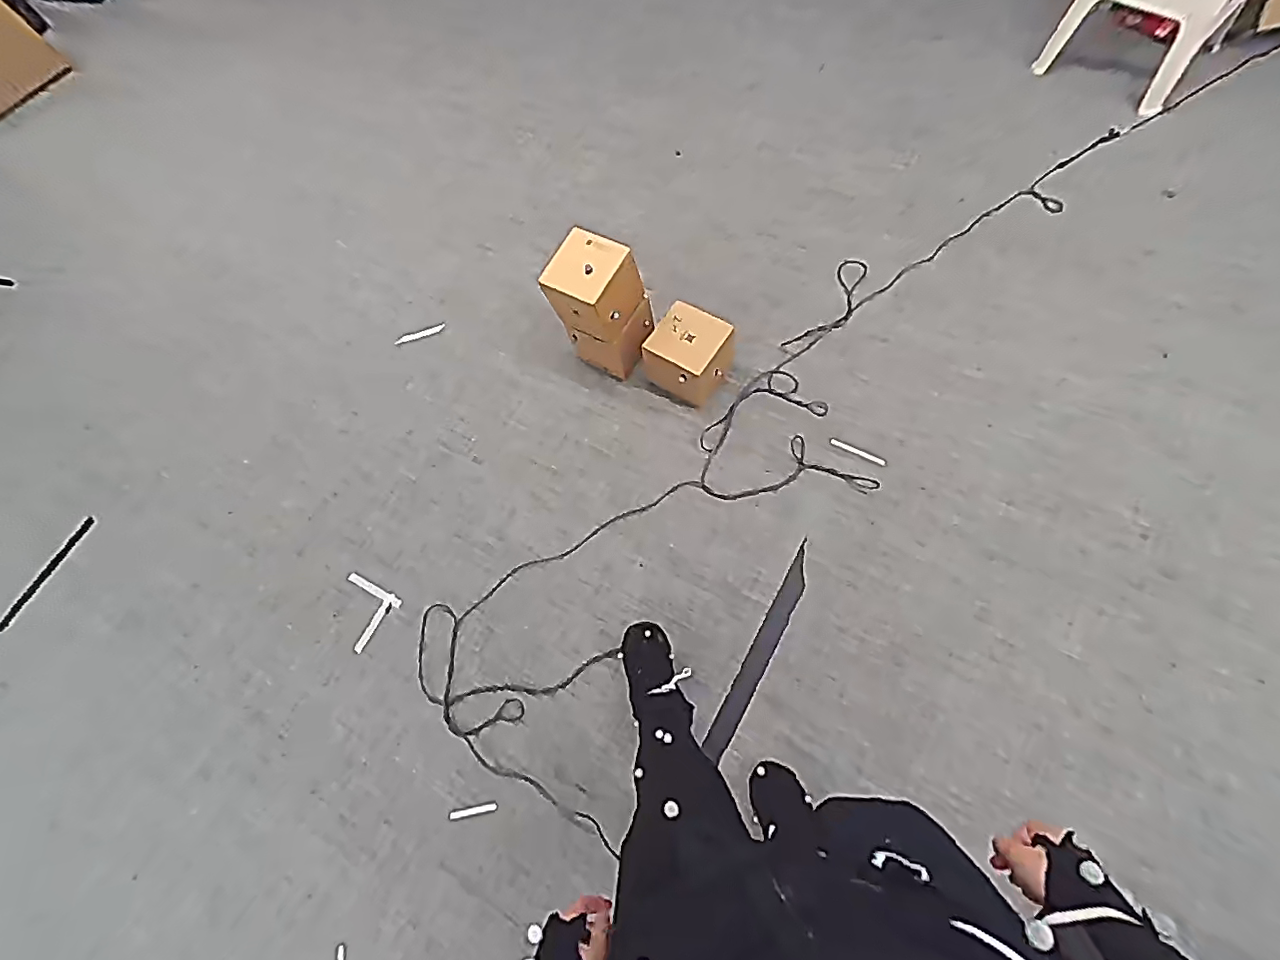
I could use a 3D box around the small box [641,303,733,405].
[{"bbox_3d":[0.128,-0.323,1.419,0.179,0.176,0.168,31,76,19],"label":"small box"}]
